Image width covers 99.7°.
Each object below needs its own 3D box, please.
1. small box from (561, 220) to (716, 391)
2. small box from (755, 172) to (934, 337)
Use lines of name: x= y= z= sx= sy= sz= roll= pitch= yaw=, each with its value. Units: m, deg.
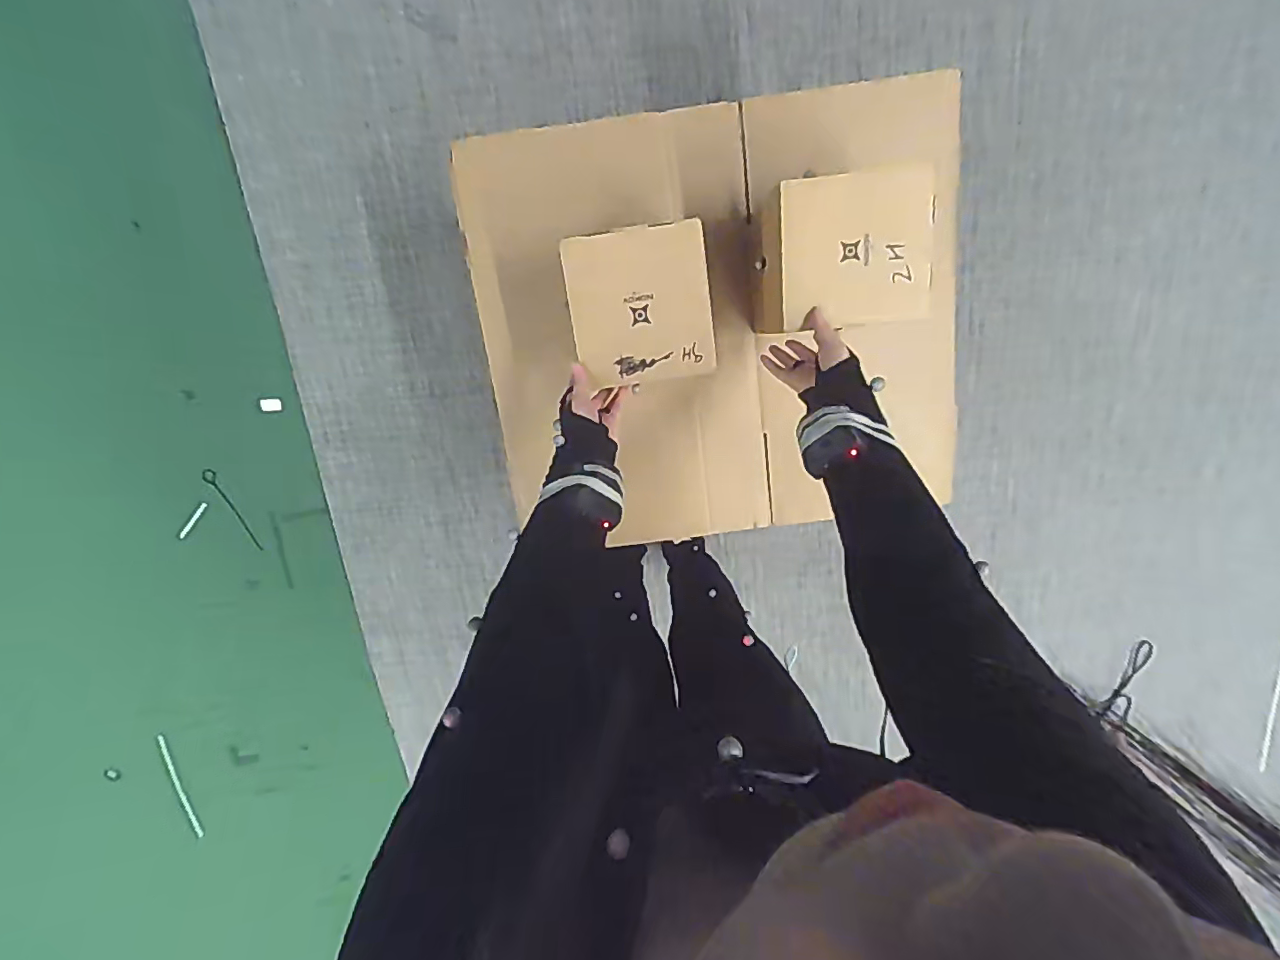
small box: x=0.000 y=-0.217 z=0.708 sx=0.168 sy=0.176 sz=0.179 roll=-8 pitch=103 yaw=2
small box: x=0.246 y=-0.275 z=0.696 sx=0.179 sy=0.176 sz=0.168 roll=-4 pitch=104 yaw=2
